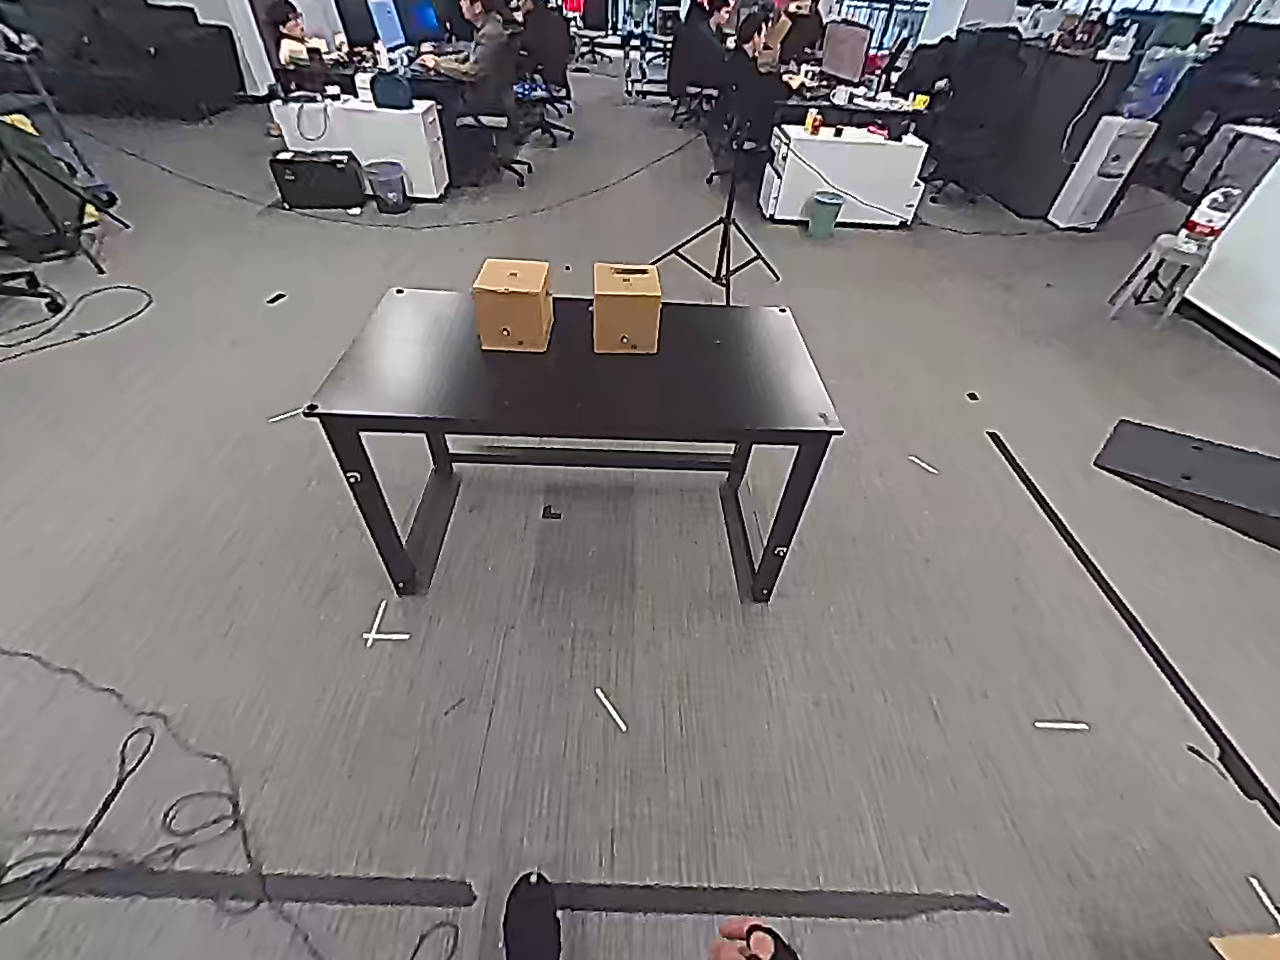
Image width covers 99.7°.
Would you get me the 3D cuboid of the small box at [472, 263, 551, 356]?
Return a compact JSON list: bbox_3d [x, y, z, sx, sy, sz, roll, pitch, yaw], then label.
[{"bbox_3d":[-0.328,-0.447,1.418,0.168,0.176,0.179,2,44,-2],"label":"small box"}]
